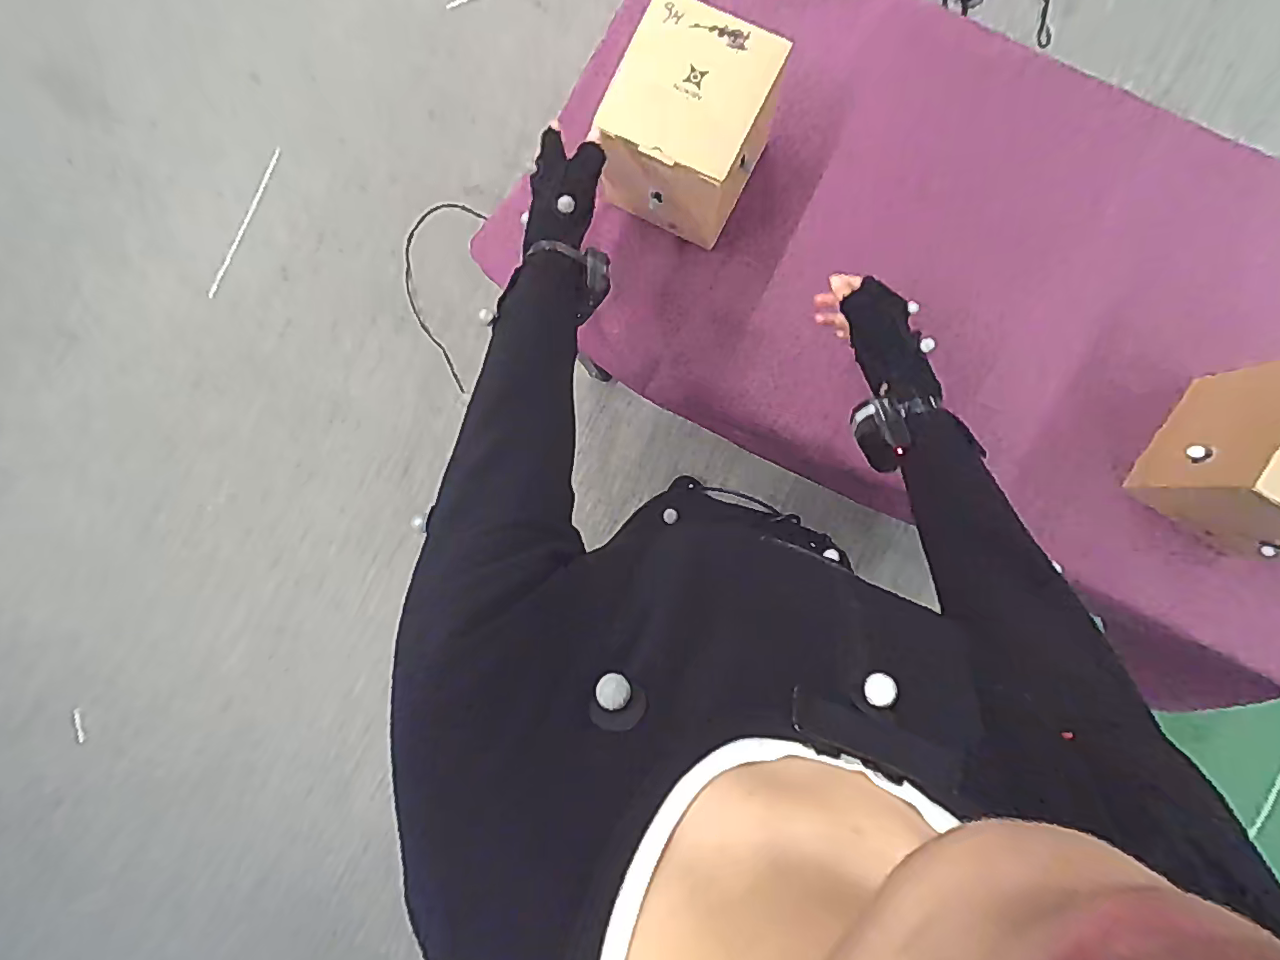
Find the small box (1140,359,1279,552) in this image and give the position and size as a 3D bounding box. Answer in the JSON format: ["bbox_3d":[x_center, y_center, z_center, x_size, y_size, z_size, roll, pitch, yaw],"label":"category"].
[{"bbox_3d":[0.744,-0.024,0.619,0.168,0.176,0.179,34,92,4],"label":"small box"}]

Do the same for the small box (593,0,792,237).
[{"bbox_3d":[0.063,-0.439,0.672,0.168,0.176,0.179,27,92,3],"label":"small box"}]
